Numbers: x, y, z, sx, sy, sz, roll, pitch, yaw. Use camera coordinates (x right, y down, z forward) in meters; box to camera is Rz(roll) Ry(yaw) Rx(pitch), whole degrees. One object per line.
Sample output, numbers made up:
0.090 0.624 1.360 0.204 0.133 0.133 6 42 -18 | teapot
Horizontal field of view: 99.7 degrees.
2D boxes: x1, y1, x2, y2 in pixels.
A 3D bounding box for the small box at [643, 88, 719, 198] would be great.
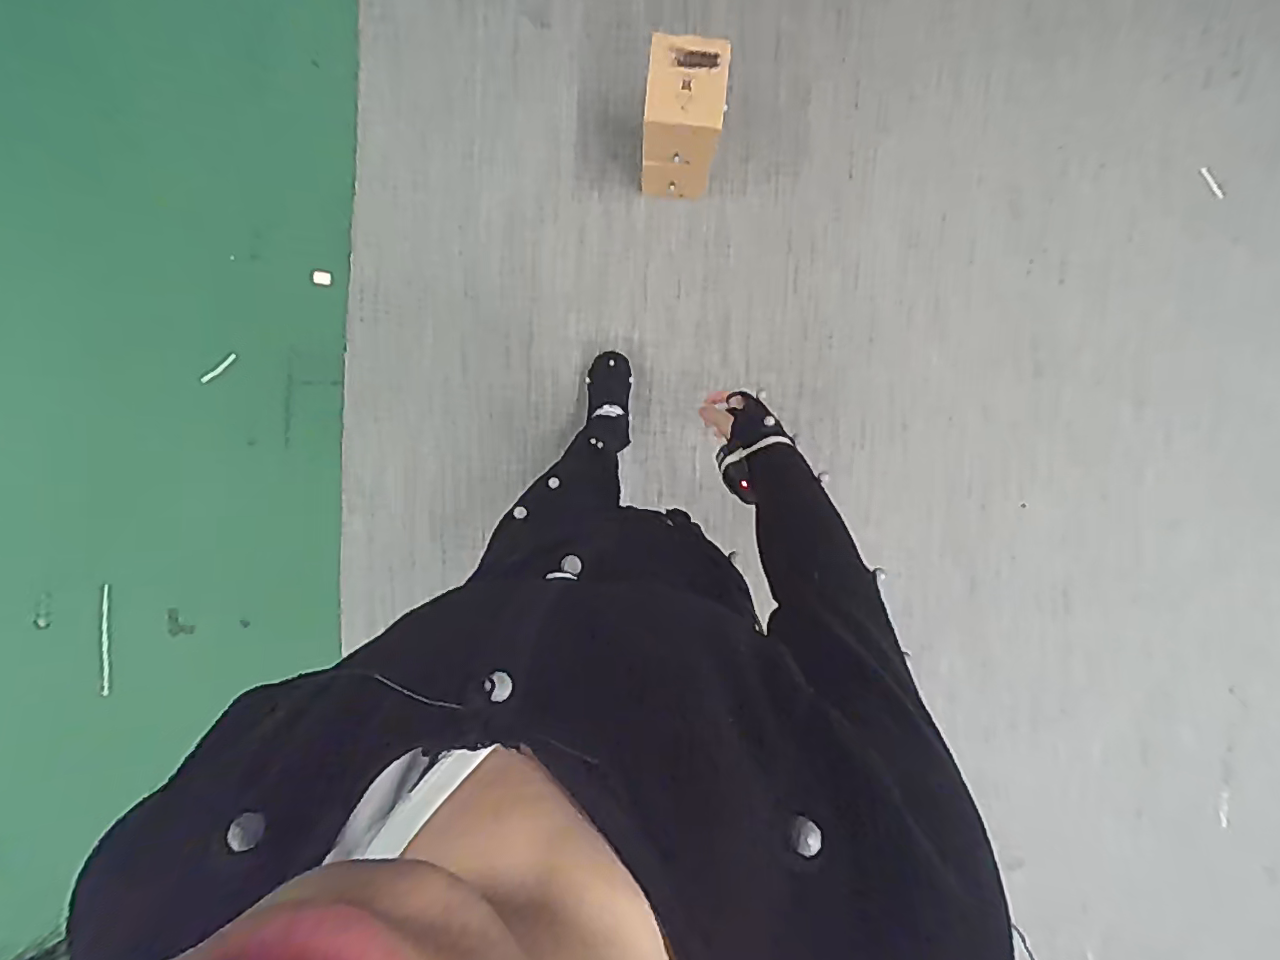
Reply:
0.097 -0.831 1.350 0.168 0.176 0.179 4 94 -1 | small box
